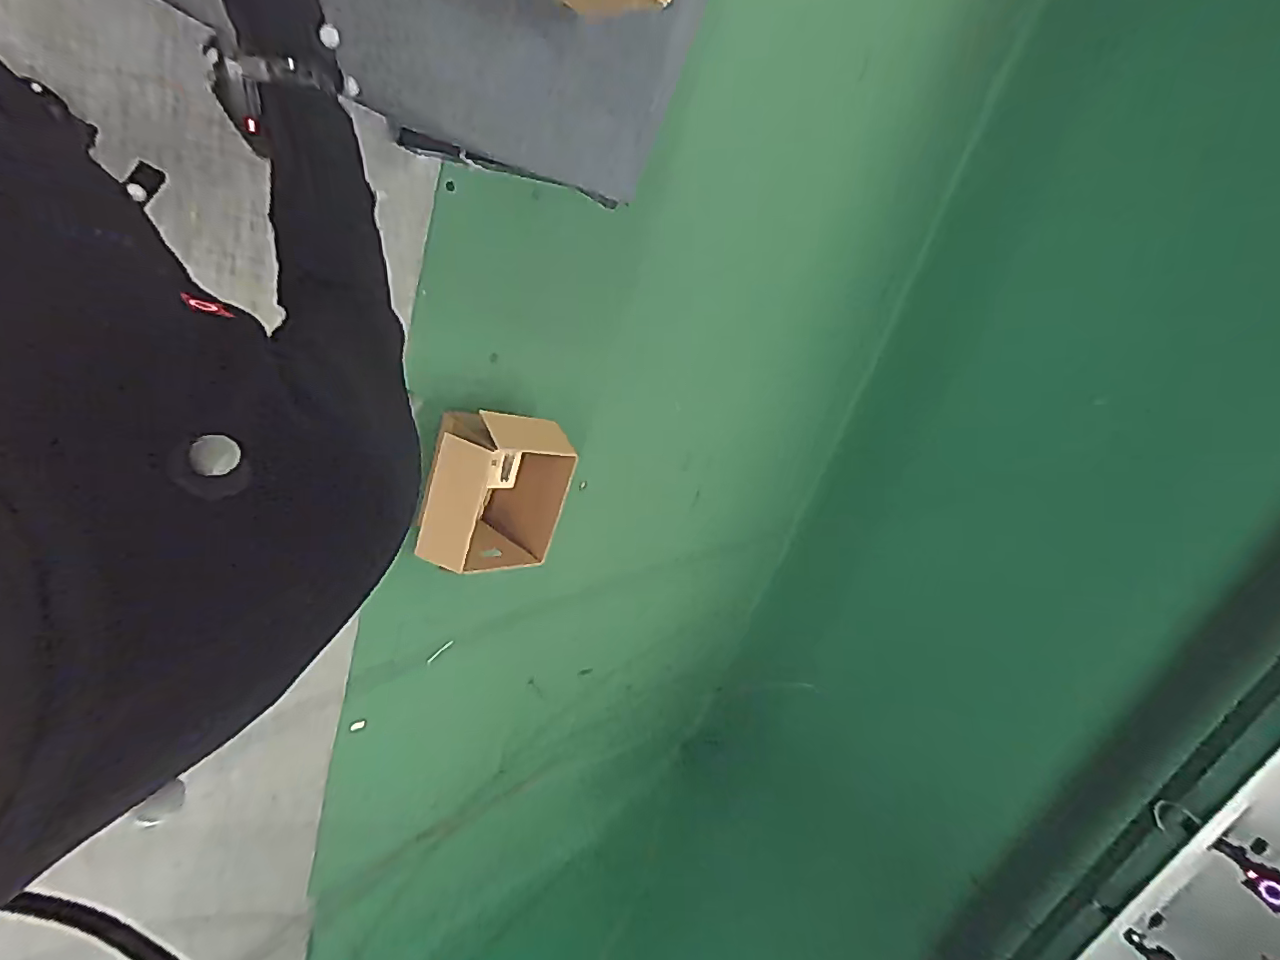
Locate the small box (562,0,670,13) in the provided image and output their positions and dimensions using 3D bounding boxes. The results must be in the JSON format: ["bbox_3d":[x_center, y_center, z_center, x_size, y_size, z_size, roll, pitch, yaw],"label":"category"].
[{"bbox_3d":[-0.052,-0.642,0.574,0.168,0.176,0.179,-4,119,-48],"label":"small box"}]
